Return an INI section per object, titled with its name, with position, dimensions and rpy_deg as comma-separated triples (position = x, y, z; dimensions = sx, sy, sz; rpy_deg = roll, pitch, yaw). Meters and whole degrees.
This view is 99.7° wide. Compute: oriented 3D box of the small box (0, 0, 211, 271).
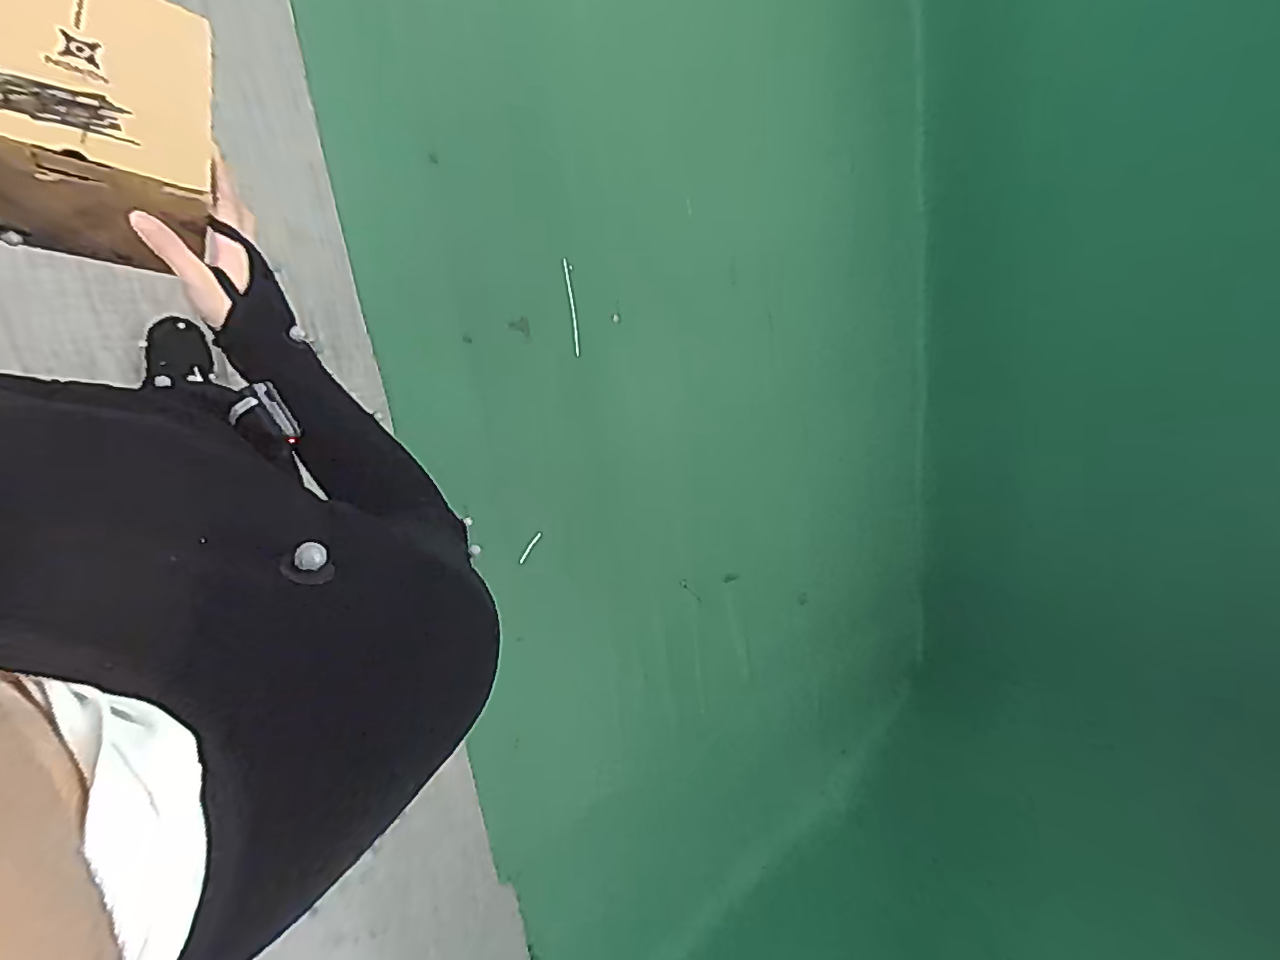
[small box]
position = -0.491, -0.316, 0.482
dimensions = 0.168, 0.176, 0.179
rpy_deg = 1, 80, -40
